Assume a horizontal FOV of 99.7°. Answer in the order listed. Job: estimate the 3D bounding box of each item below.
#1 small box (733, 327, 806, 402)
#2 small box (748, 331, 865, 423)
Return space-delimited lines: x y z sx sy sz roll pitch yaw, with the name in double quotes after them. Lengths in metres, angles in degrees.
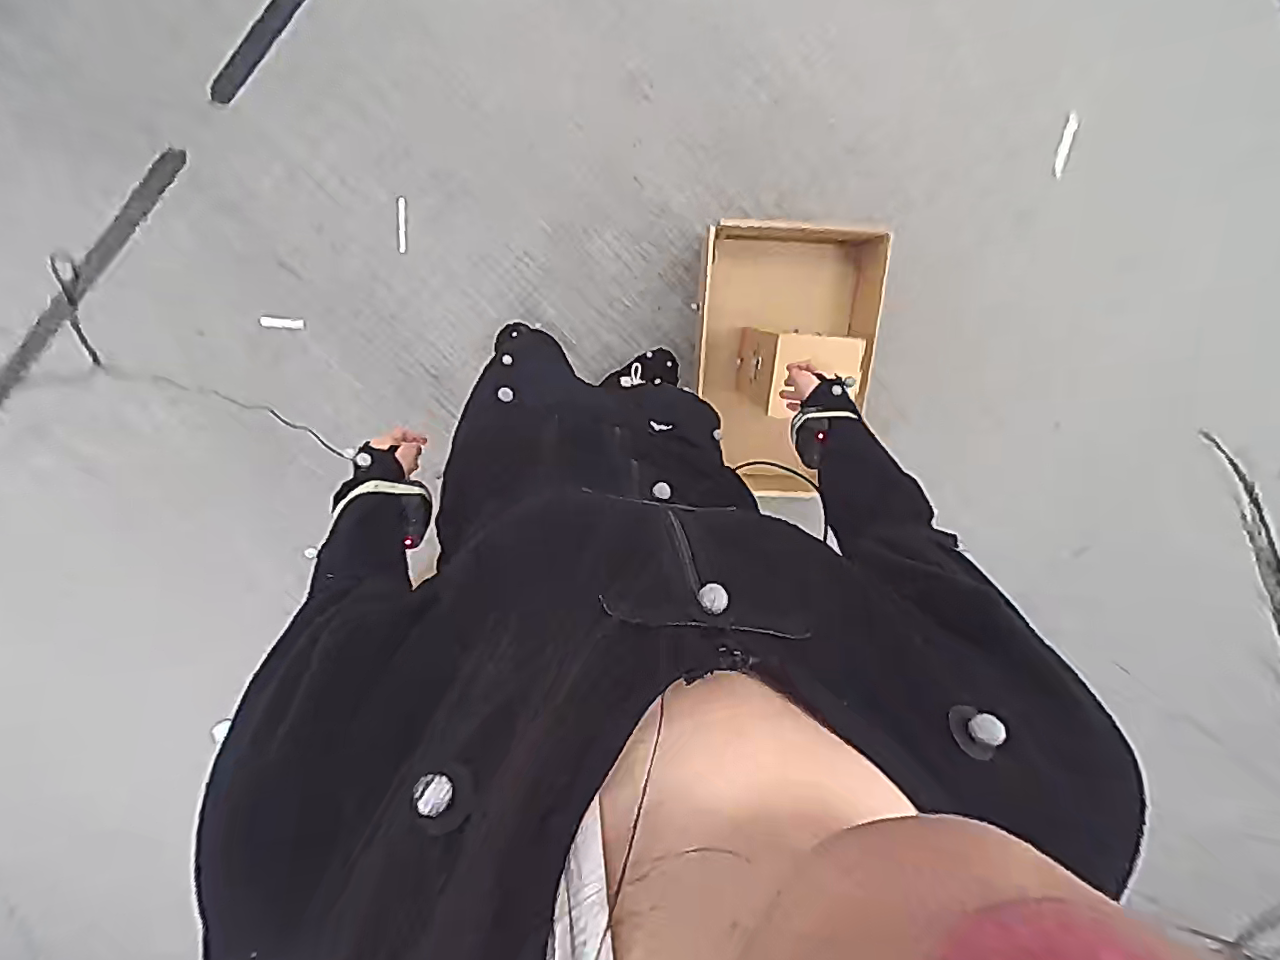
0.335 -0.272 1.296 0.179 0.176 0.168 5 107 -3 "small box"
0.341 -0.223 1.142 0.179 0.176 0.168 4 107 -2 "small box"
